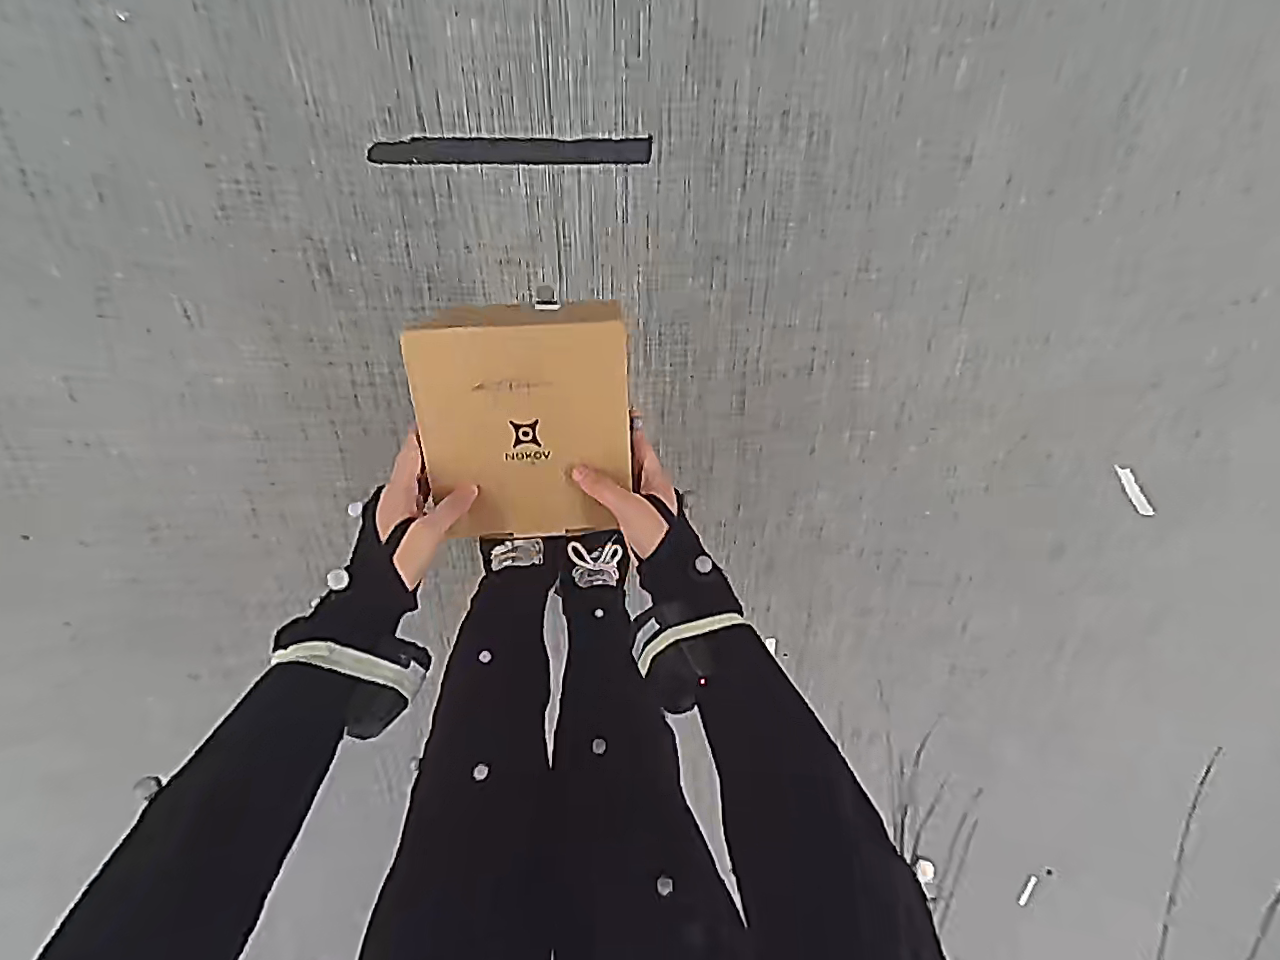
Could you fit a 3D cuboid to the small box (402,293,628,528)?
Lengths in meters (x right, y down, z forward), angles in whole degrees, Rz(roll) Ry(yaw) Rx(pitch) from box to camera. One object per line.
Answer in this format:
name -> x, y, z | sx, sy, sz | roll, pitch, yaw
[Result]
small box -> -0.097, -0.074, 0.507 | 0.168, 0.176, 0.179 | -4, 114, -3
